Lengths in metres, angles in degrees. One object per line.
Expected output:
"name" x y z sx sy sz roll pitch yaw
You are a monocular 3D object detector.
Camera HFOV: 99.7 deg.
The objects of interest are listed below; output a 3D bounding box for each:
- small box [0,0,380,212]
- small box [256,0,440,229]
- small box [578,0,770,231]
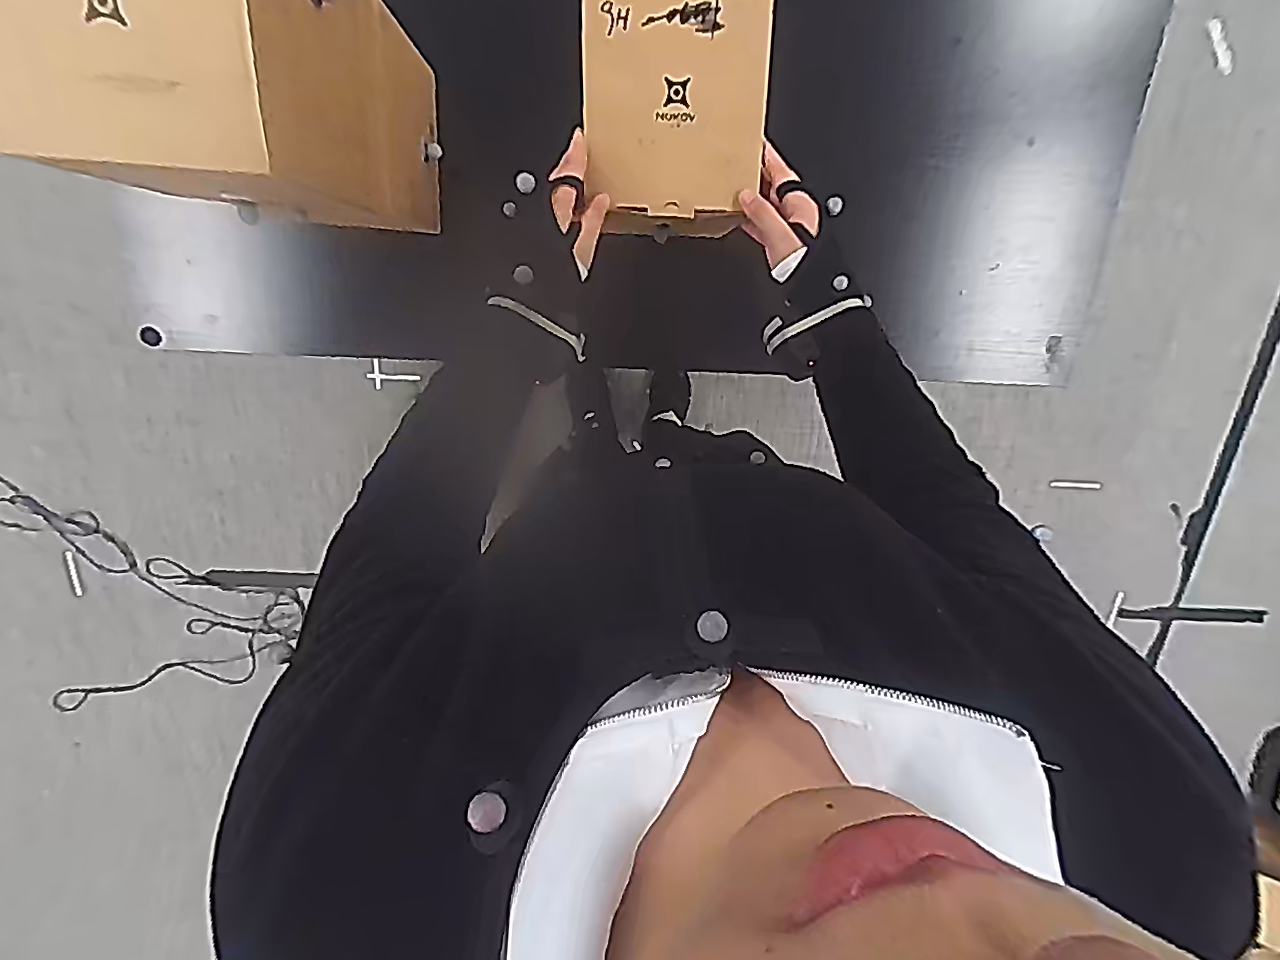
"small box" -0.306 -0.305 0.385 0.168 0.176 0.179 2 108 -3
"small box" -0.313 -0.355 0.539 0.179 0.176 0.168 2 107 -5
"small box" 0.024 -0.362 0.559 0.168 0.176 0.179 0 108 -3
